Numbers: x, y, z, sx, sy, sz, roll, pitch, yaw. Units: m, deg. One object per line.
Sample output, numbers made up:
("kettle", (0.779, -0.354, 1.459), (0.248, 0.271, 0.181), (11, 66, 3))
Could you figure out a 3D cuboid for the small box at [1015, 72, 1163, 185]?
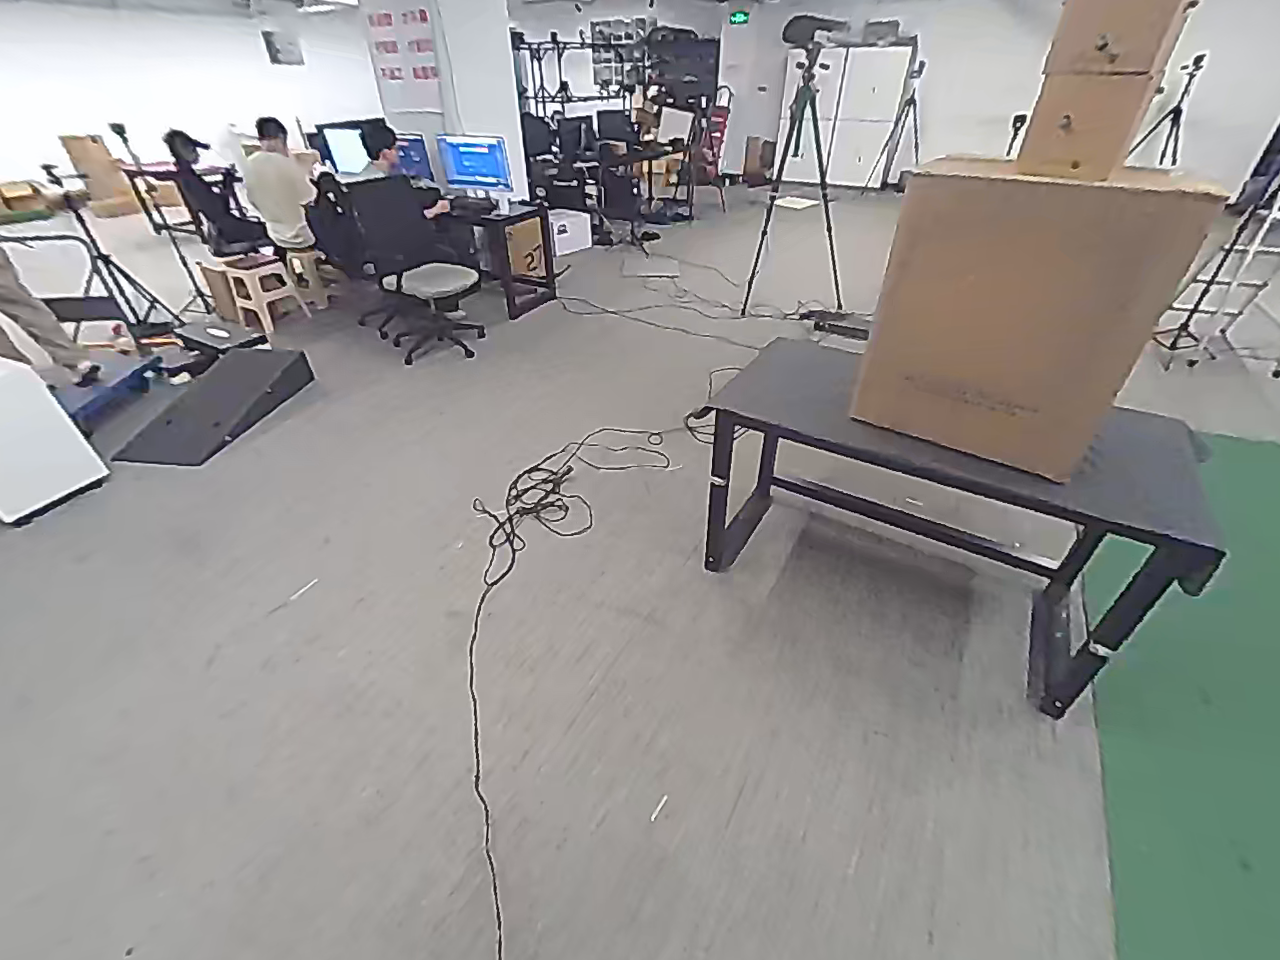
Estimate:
("small box", (0.872, -0.690, 1.062), (0.168, 0.176, 0.179), (28, 47, 33))
